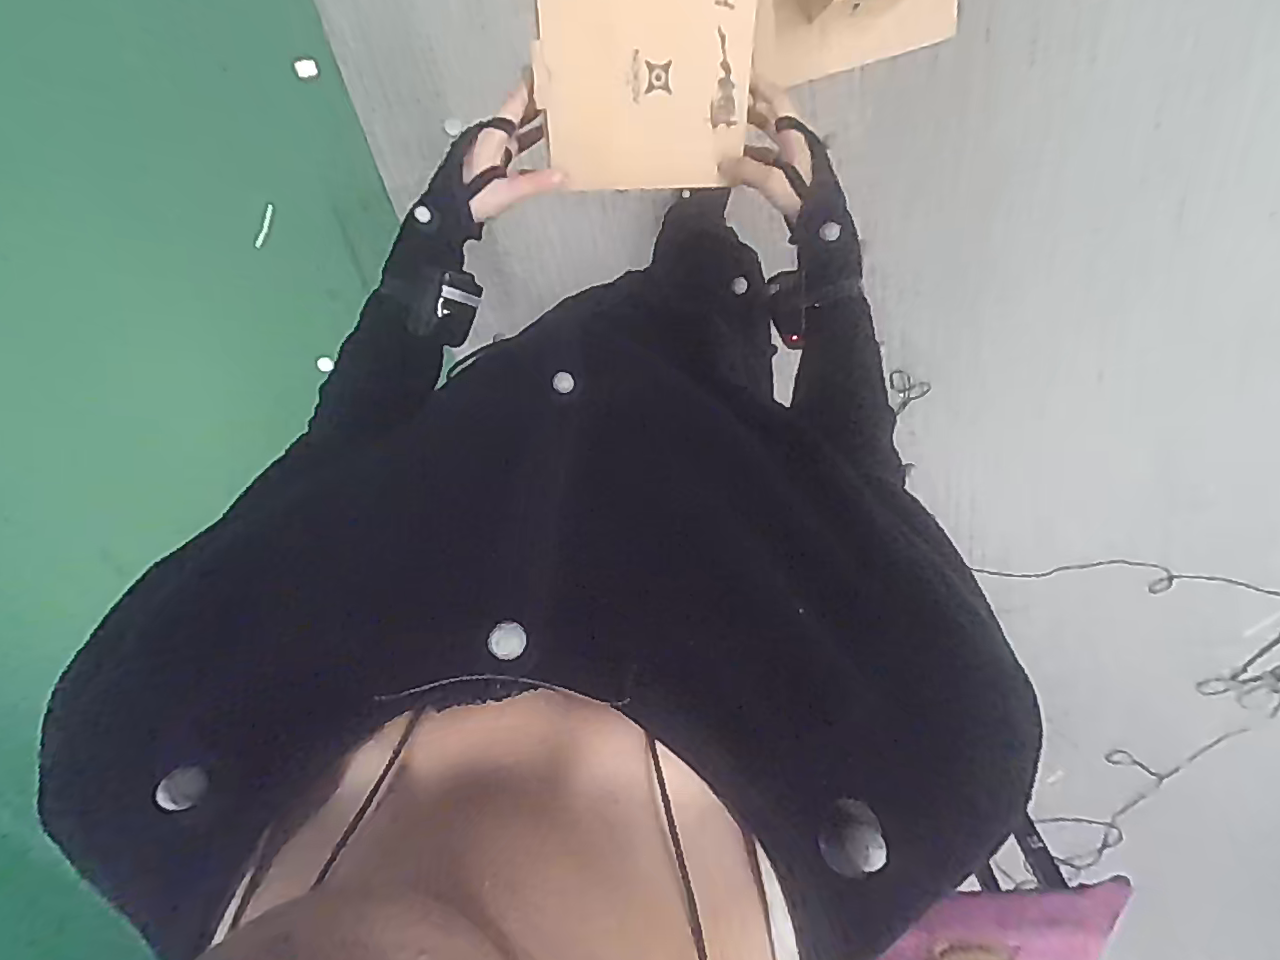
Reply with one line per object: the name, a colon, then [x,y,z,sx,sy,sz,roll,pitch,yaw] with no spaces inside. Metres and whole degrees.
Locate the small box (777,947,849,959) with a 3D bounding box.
small box: [0.444,1.291,1.334,0.179,0.176,0.168,-7,118,8]

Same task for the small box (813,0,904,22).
small box: [0.408,-0.951,0.960,0.168,0.176,0.179,-7,117,7]

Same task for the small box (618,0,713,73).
small box: [0.047,-0.891,1.016,0.168,0.176,0.179,-6,117,6]
